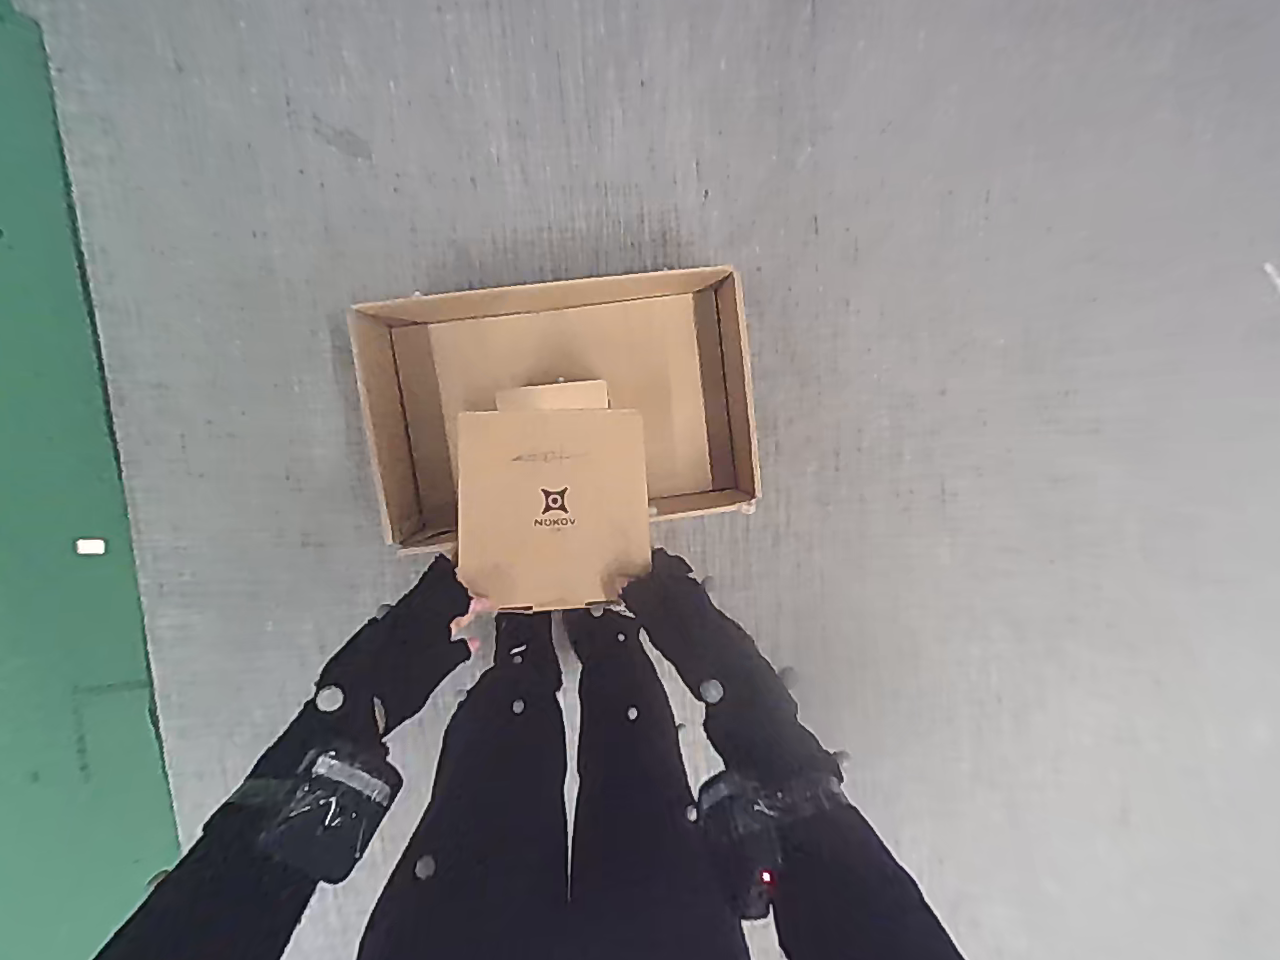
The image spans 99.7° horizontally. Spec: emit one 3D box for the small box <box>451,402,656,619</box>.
[{"bbox_3d":[-0.082,0.033,0.550,0.168,0.176,0.179,-7,82,-7],"label":"small box"}]

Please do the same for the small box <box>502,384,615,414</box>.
[{"bbox_3d":[-0.125,-0.072,0.930,0.179,0.176,0.168,-6,96,-1],"label":"small box"}]
